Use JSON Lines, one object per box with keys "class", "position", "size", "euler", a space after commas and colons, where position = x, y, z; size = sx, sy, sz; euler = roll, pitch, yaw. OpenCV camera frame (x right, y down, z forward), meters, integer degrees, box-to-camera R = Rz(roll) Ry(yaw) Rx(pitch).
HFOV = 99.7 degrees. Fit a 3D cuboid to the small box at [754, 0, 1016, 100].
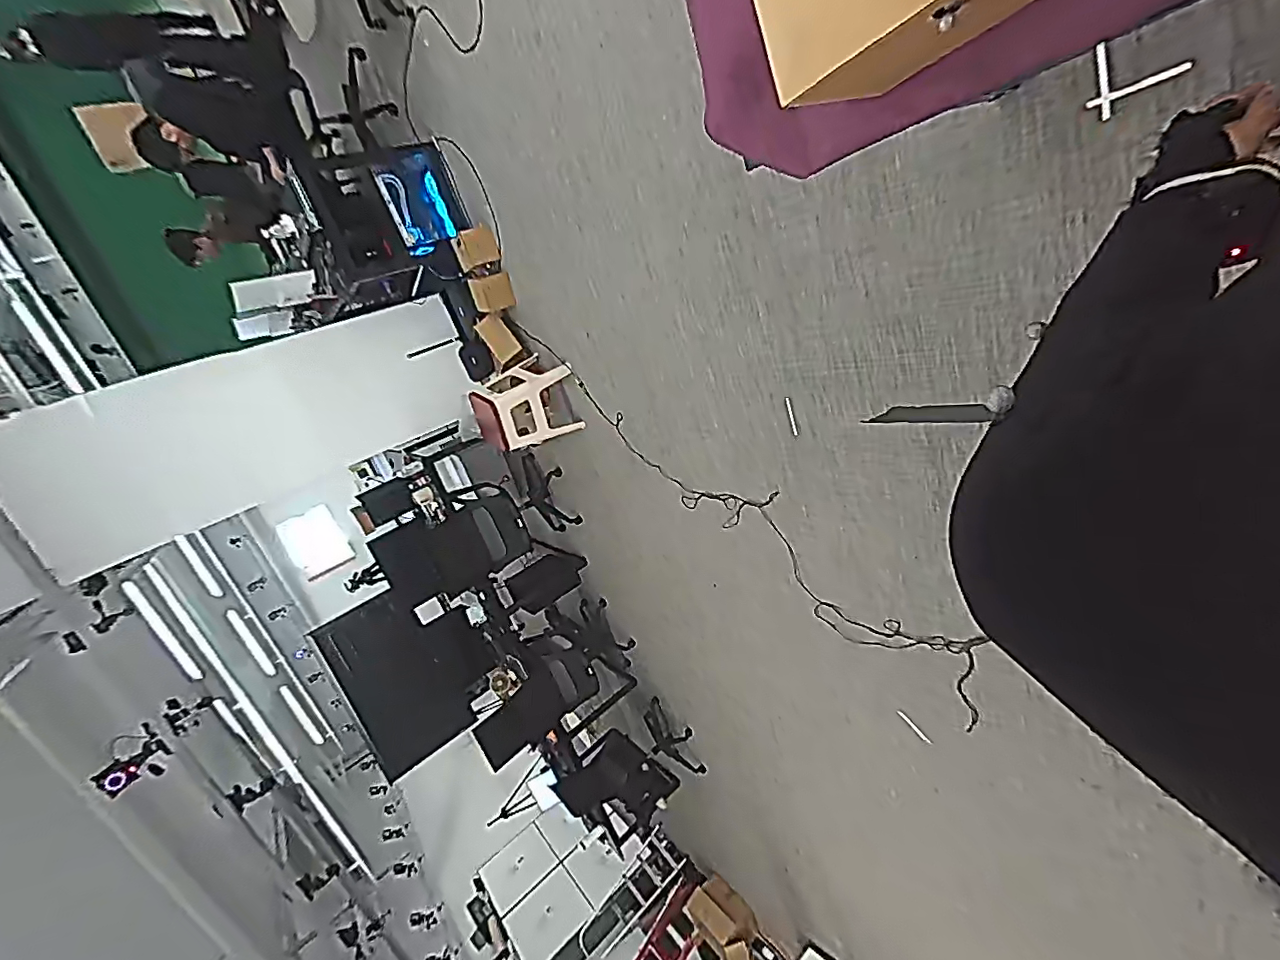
{"class": "small box", "position": [0.211, -0.456, 0.452], "size": [0.179, 0.176, 0.168], "euler": [1, 116, 56]}
